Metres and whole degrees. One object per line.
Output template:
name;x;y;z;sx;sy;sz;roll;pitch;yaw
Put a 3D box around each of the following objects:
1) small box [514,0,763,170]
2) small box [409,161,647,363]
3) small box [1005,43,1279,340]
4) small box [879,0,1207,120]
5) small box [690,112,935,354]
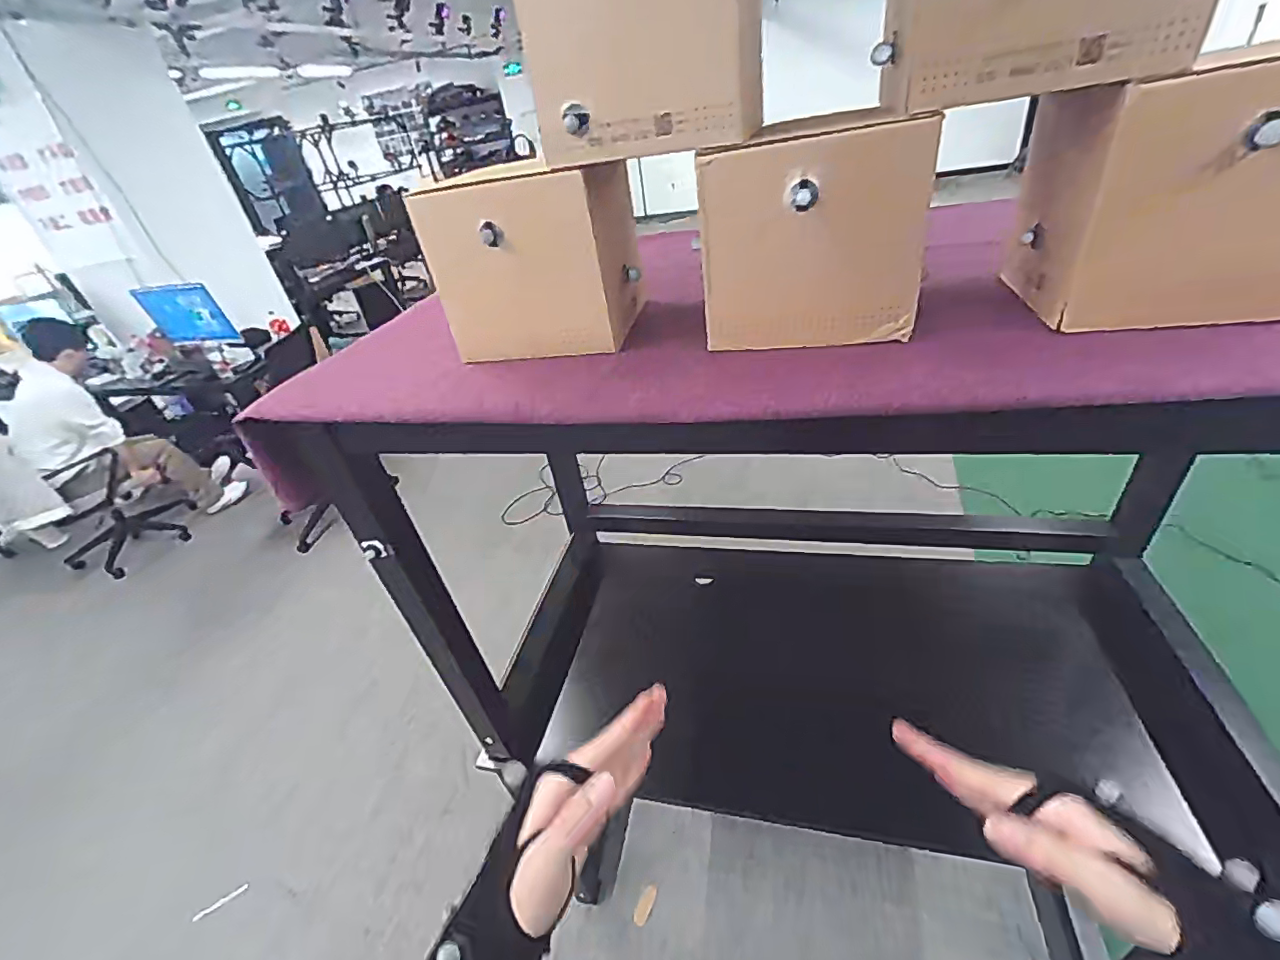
small box;0.011;-0.367;0.452;0.168;0.176;0.179;3;36;17
small box;-0.102;-0.235;0.581;0.179;0.176;0.168;0;37;15
small box;0.421;-0.221;0.423;0.179;0.176;0.168;0;36;17
small box;0.269;-0.361;0.376;0.168;0.176;0.179;1;37;16
small box;0.153;-0.224;0.499;0.179;0.176;0.168;1;37;17
